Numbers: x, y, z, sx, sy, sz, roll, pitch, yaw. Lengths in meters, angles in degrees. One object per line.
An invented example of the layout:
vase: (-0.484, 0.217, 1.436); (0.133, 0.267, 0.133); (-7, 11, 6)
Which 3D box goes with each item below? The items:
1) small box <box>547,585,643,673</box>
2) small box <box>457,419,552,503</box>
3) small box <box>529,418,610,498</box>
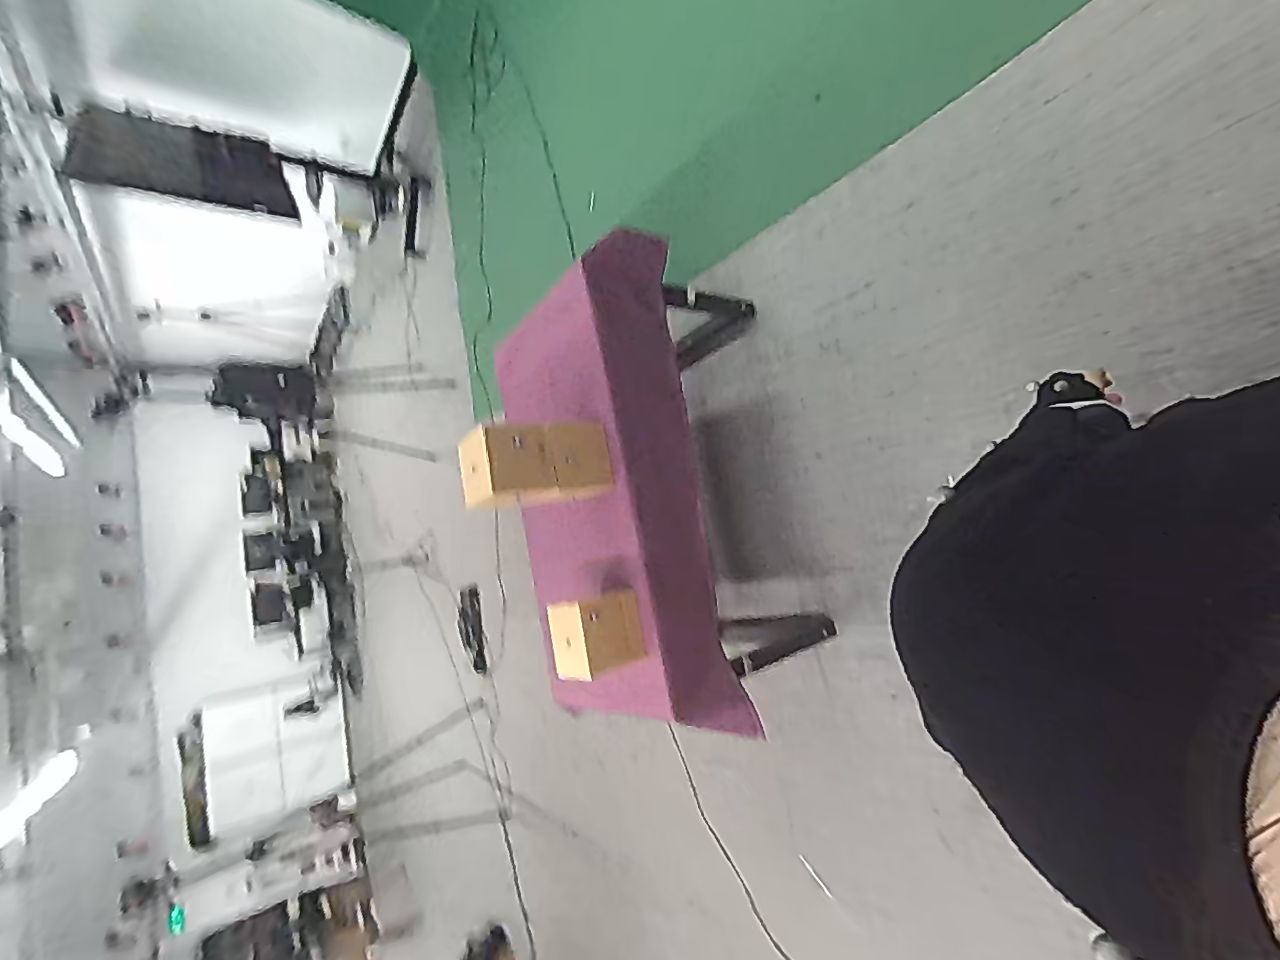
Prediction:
small box: (-0.111, 0.370, 1.359); (0.168, 0.176, 0.179); (-21, 77, 50)
small box: (-0.325, -0.047, 1.314); (0.179, 0.176, 0.168); (-22, 77, 51)
small box: (-0.194, -0.059, 1.411); (0.168, 0.176, 0.179); (-18, 80, 50)
